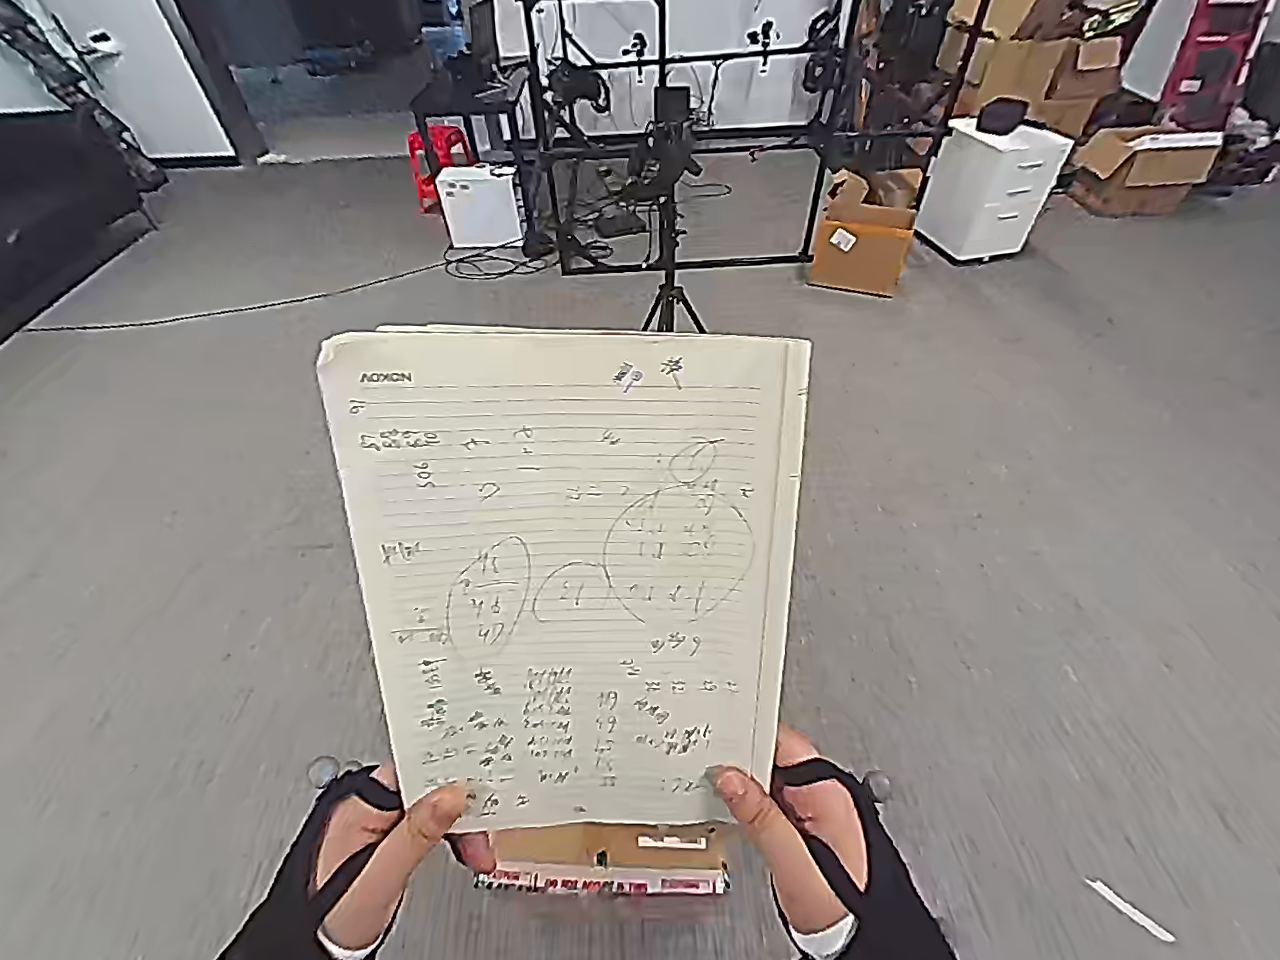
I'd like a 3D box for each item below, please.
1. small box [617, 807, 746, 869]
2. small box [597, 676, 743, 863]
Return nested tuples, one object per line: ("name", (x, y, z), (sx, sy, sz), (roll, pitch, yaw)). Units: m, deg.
("small box", (0.055, 0.488, 0.833), (0.179, 0.176, 0.168), (0, 48, 0))
("small box", (0.037, 0.380, 0.709), (0.168, 0.176, 0.179), (4, 49, 2))
